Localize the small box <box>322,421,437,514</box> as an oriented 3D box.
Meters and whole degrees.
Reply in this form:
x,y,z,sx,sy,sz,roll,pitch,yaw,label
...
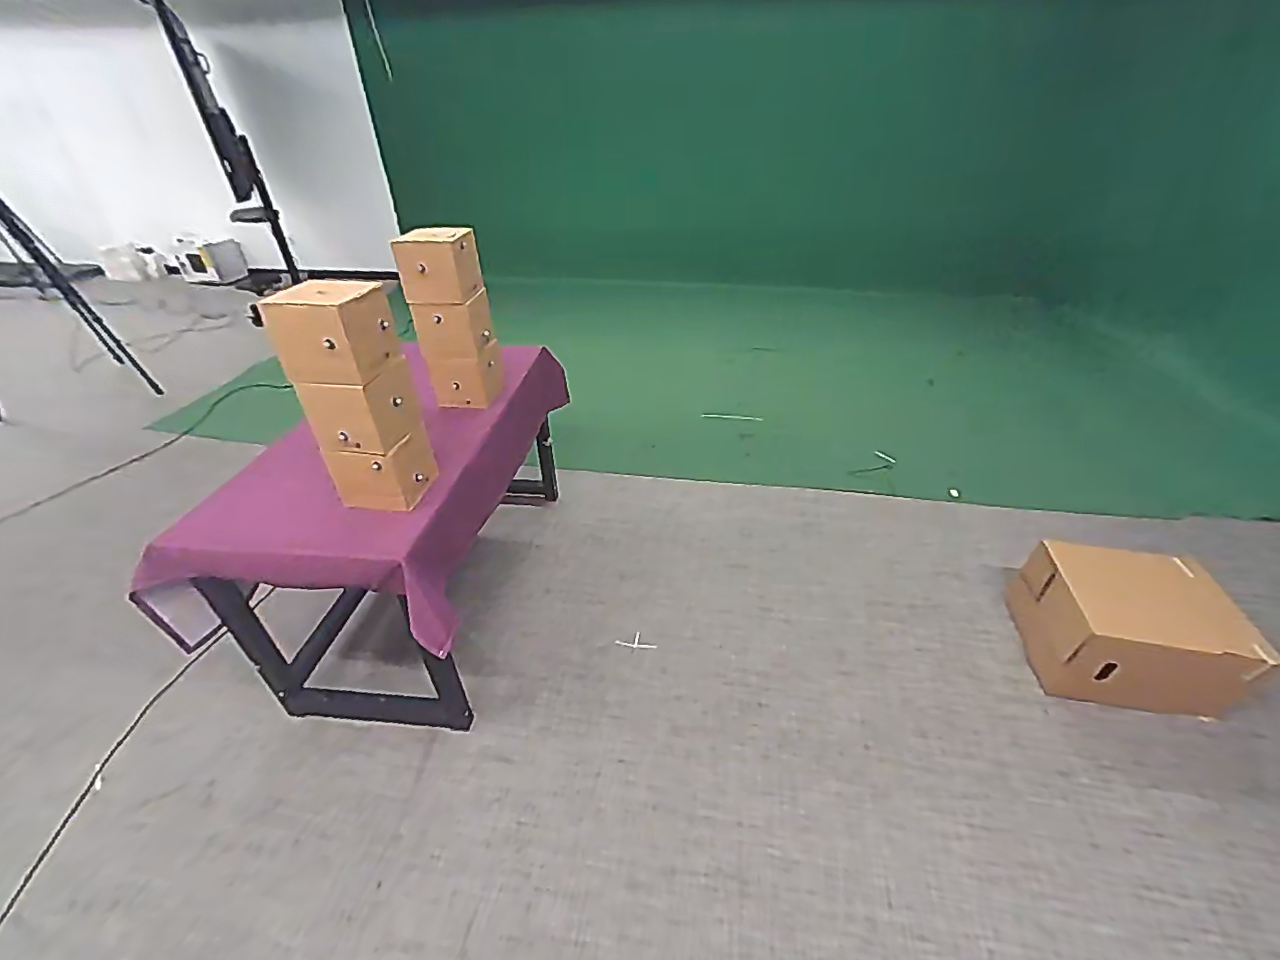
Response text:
x,y,z,sx,sy,sz,roll,pitch,yaw,label
-0.631,-0.030,1.332,0.179,0.176,0.168,4,35,7,small box

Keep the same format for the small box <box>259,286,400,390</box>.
x,y,z,sx,sy,sz,roll,pitch,yaw,label
-0.642,-0.301,1.148,0.179,0.176,0.168,4,35,8,small box

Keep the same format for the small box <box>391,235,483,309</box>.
x,y,z,sx,sy,sz,roll,pitch,yaw,label
-0.580,-0.601,1.568,0.179,0.176,0.168,1,36,7,small box

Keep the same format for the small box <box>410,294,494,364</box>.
x,y,z,sx,sy,sz,roll,pitch,yaw,label
-0.569,-0.465,1.659,0.179,0.176,0.168,2,36,5,small box

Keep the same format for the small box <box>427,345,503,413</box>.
x,y,z,sx,sy,sz,roll,pitch,yaw,label
-0.557,-0.330,1.753,0.168,0.176,0.179,4,36,7,small box
